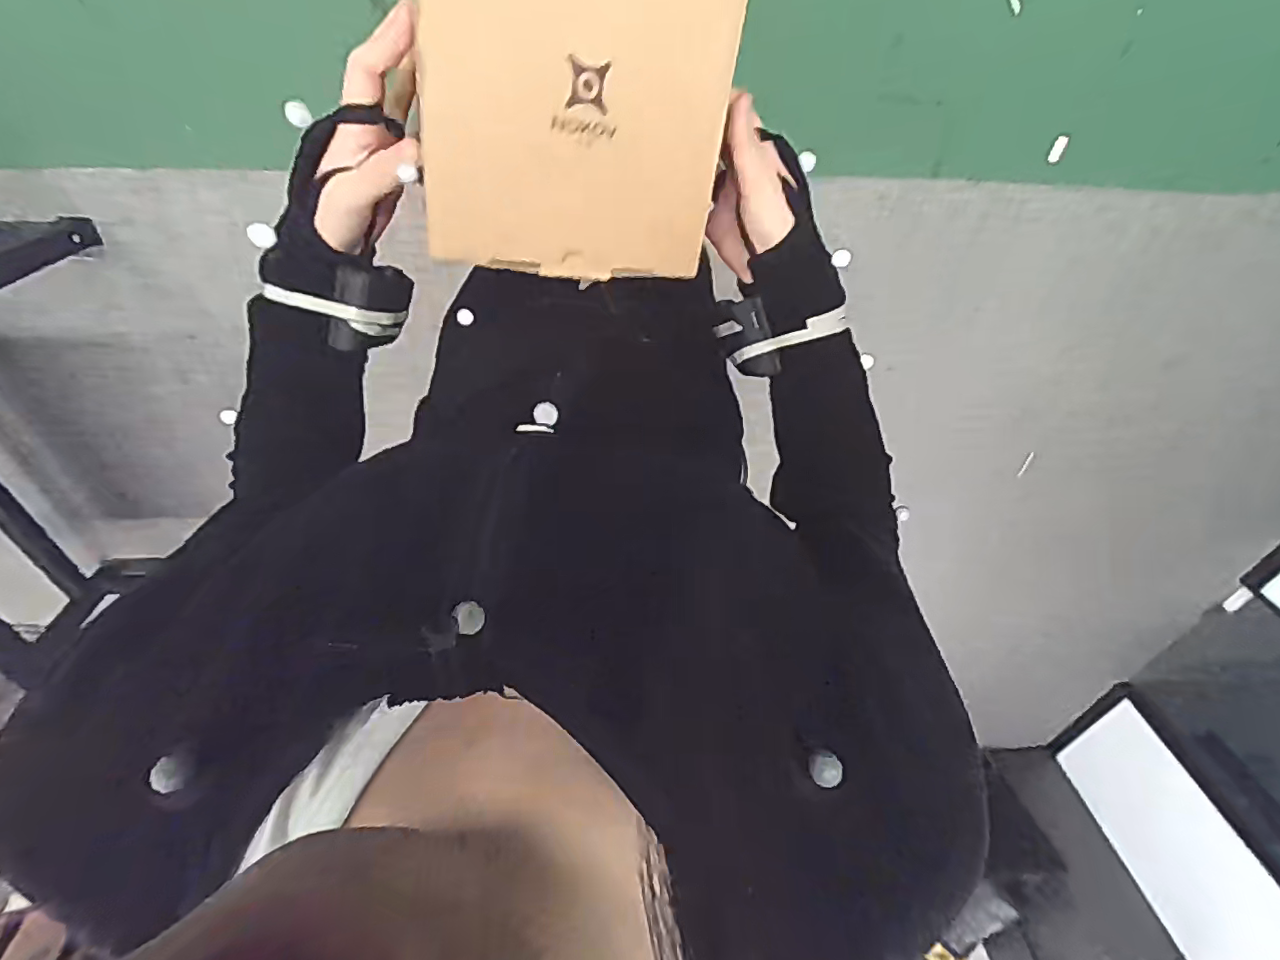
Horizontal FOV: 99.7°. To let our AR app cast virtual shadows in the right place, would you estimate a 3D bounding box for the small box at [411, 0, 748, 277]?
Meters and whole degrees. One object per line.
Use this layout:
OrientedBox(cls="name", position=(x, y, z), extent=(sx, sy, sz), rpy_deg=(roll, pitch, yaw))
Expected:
OrientedBox(cls="small box", position=(-0.054, -0.245, 0.351), extent=(0.168, 0.176, 0.179), rpy_deg=(-5, 124, -21))
